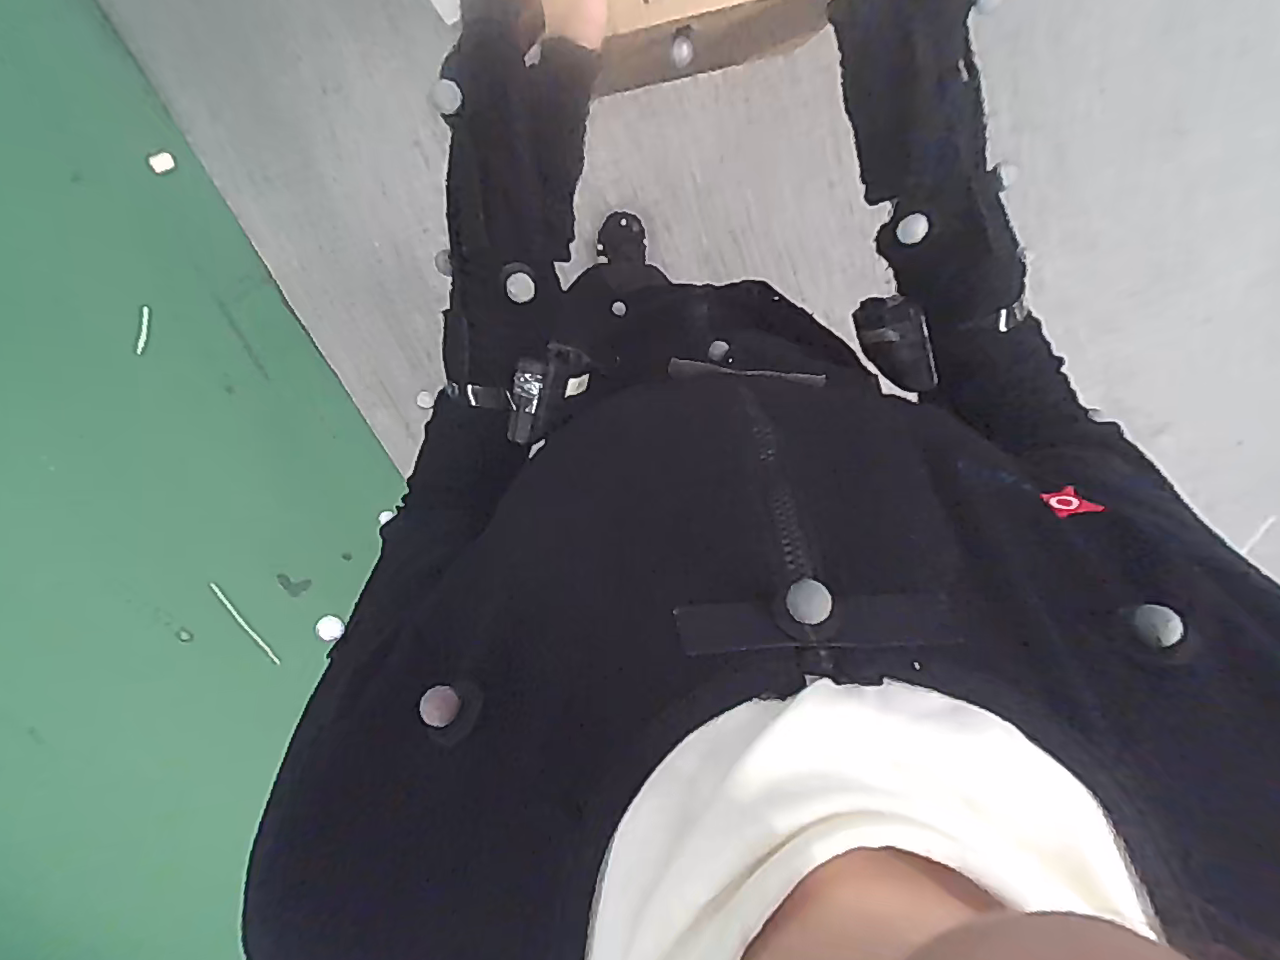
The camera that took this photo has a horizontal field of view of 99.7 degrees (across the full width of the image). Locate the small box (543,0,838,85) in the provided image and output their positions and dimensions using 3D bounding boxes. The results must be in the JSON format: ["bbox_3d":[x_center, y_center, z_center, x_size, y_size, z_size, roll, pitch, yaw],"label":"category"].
[{"bbox_3d":[0.022,-0.344,0.288,0.168,0.176,0.179,-9,118,6],"label":"small box"}]
